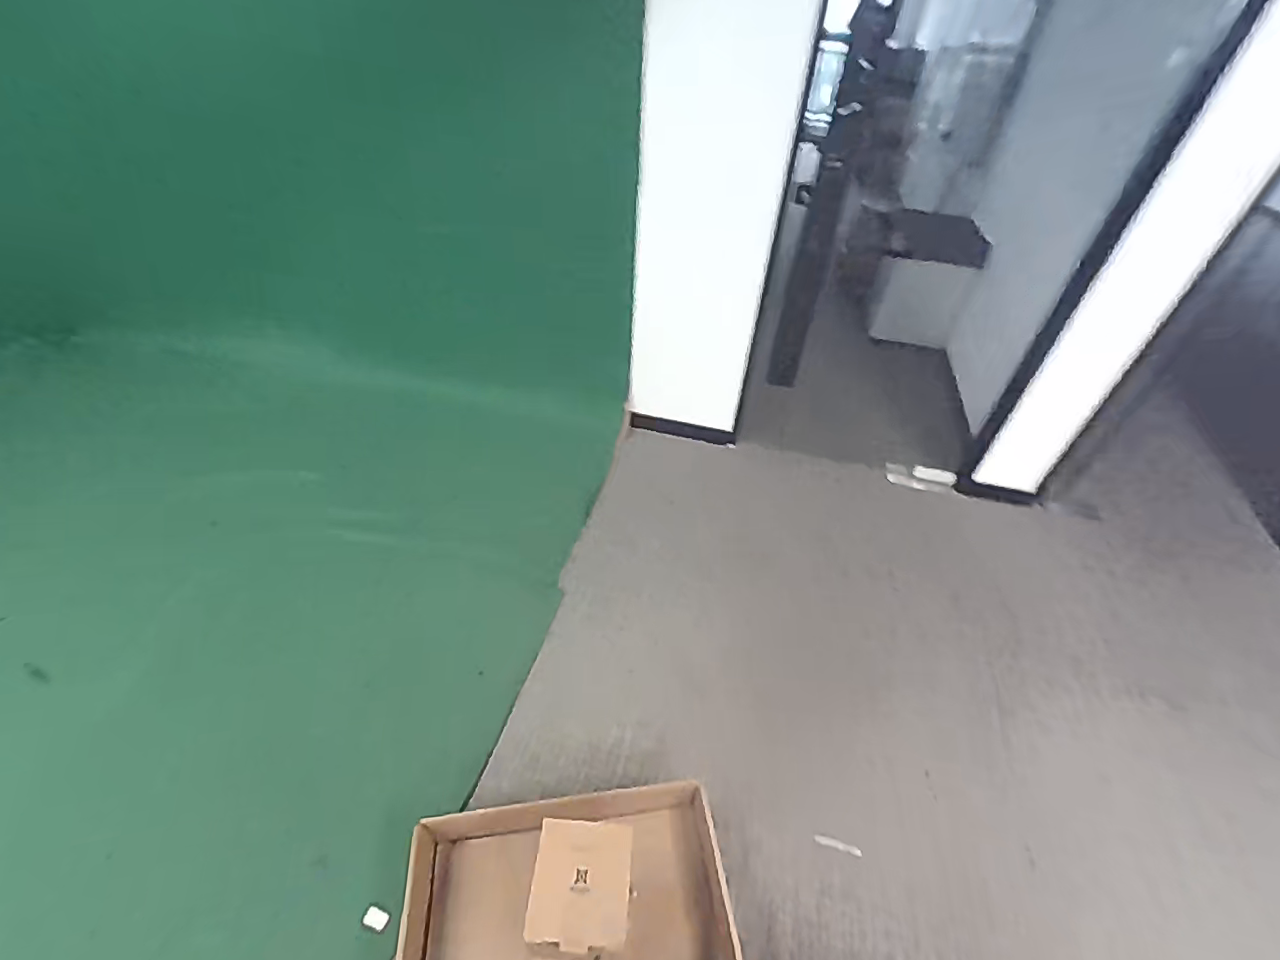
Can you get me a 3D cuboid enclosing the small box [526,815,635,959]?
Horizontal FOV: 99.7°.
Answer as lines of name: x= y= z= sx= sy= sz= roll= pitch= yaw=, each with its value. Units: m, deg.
small box: x=-0.097 y=0.731 z=0.966 sx=0.168 sy=0.176 sz=0.179 roll=4 pitch=40 yaw=1
